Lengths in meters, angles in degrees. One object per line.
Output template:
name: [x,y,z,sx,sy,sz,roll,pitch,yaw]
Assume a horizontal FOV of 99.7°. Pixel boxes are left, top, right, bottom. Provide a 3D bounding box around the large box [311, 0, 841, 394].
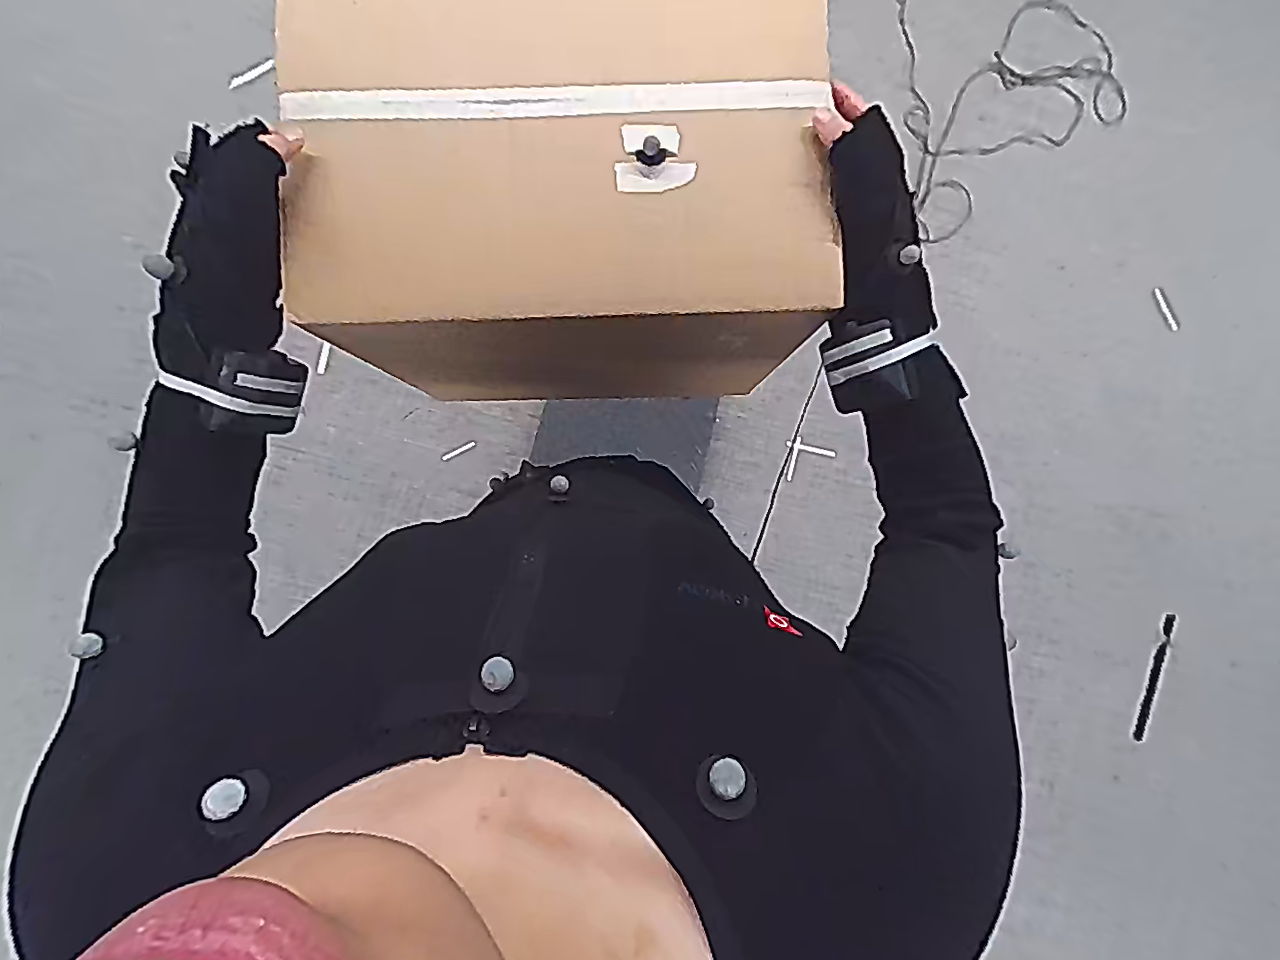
large box: [-0.055,-0.277,0.562,0.408,0.320,0.320,-1,88,-2]
